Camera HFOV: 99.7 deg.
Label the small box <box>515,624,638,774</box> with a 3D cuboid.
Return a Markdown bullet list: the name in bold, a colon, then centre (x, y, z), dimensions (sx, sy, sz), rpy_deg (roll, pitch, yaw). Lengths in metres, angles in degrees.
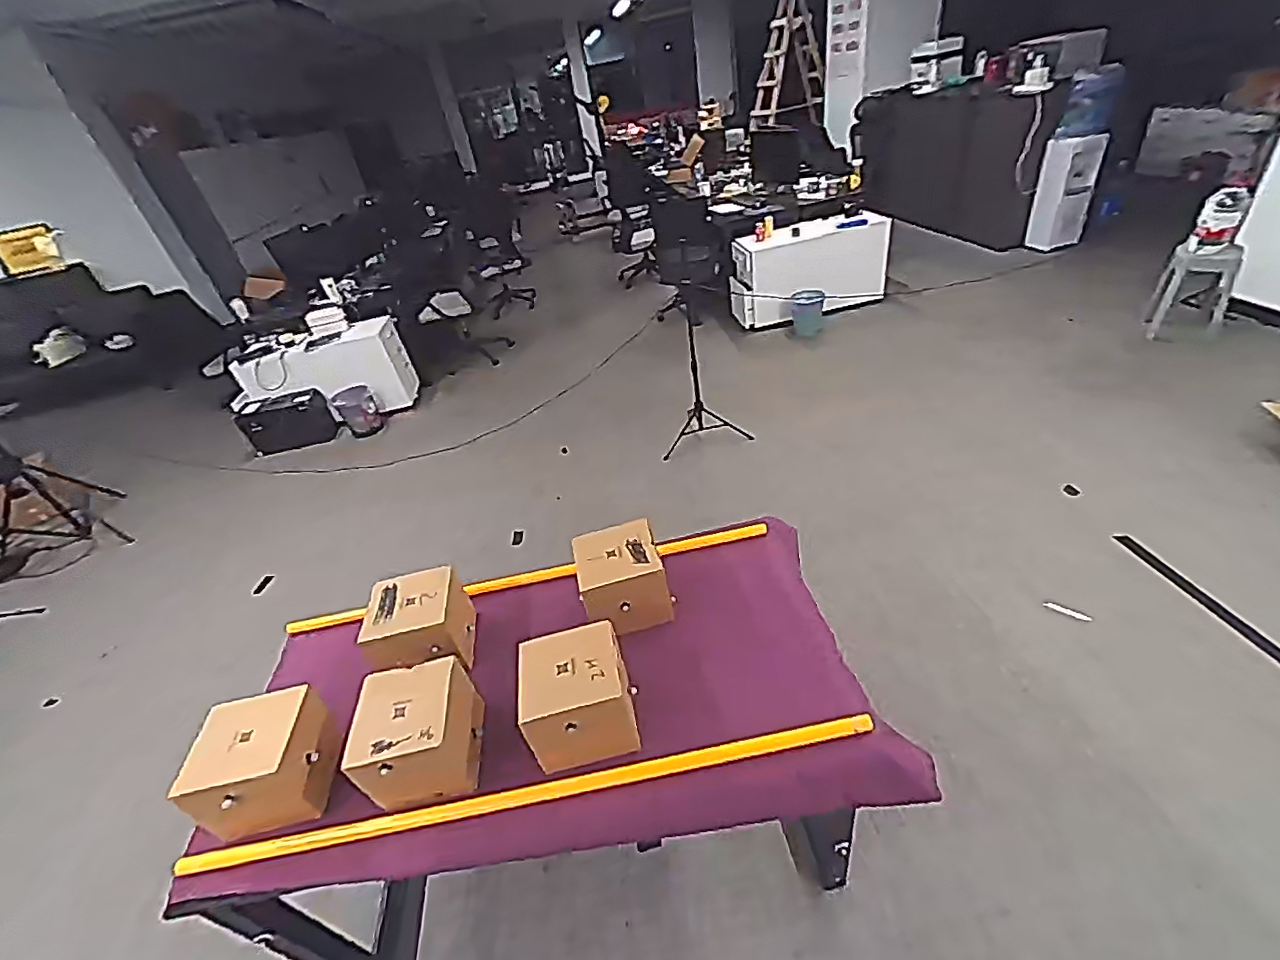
- **small box**: centre (-0.113, 0.393, 0.970), dimensions (0.179, 0.176, 0.168), rpy_deg (-14, 35, -3)

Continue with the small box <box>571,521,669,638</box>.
- **small box**: centre (-0.041, 0.222, 1.181), dimensions (0.179, 0.176, 0.168), rpy_deg (-16, 37, -3)

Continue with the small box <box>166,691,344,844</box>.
- **small box**: centre (-0.668, 0.514, 0.969), dimensions (0.179, 0.176, 0.168), rpy_deg (-13, 36, -3)

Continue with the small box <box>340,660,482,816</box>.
- **small box**: centre (-0.393, 0.458, 0.965), dimensions (0.168, 0.176, 0.179), rpy_deg (-14, 36, -1)
